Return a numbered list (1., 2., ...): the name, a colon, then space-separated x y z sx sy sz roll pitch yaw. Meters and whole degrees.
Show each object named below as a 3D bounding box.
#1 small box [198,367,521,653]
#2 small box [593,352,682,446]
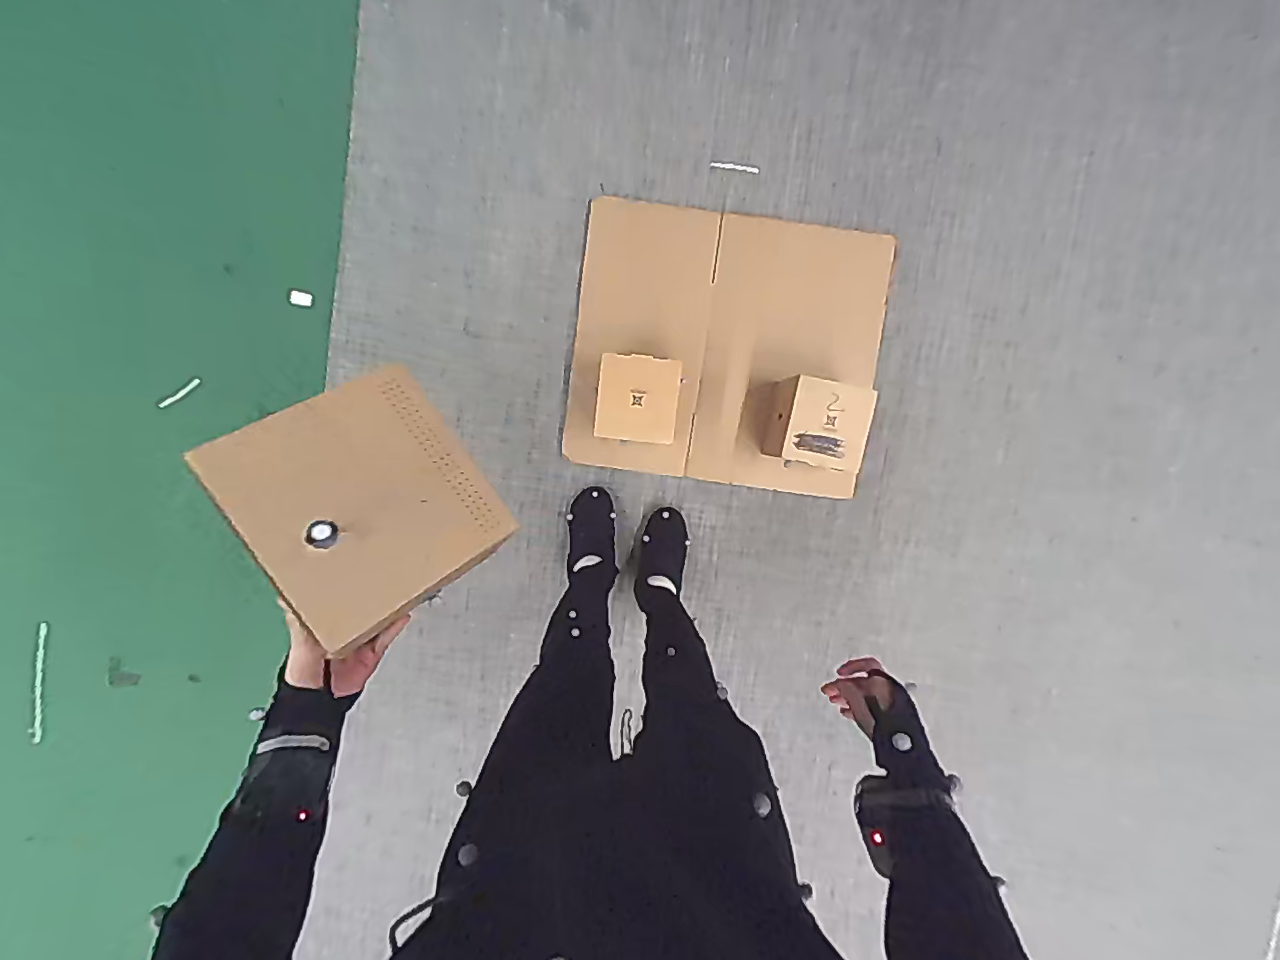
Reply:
1. small box: -0.233 0.031 0.484 0.176 0.168 0.179 -35 91 -31
2. small box: -0.004 -0.170 1.173 0.168 0.176 0.179 6 94 0
